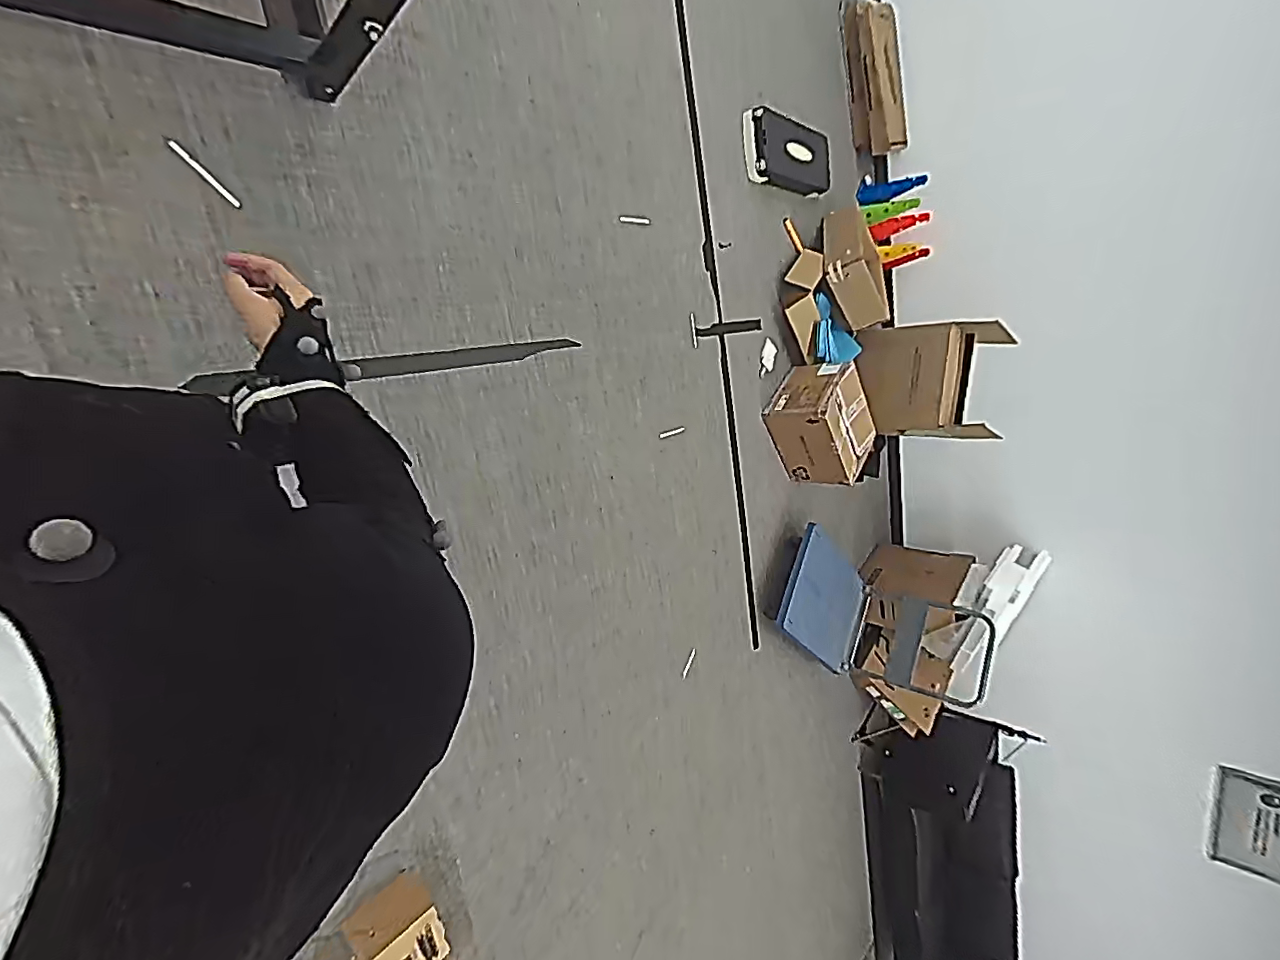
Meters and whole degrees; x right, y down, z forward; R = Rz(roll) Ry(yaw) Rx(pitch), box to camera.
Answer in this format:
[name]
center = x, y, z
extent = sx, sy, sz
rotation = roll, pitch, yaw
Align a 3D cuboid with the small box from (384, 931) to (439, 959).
[small box]
center = -0.613, 1.378, 1.433
extent = 0.179, 0.176, 0.168
rotation = -21, 109, -44
